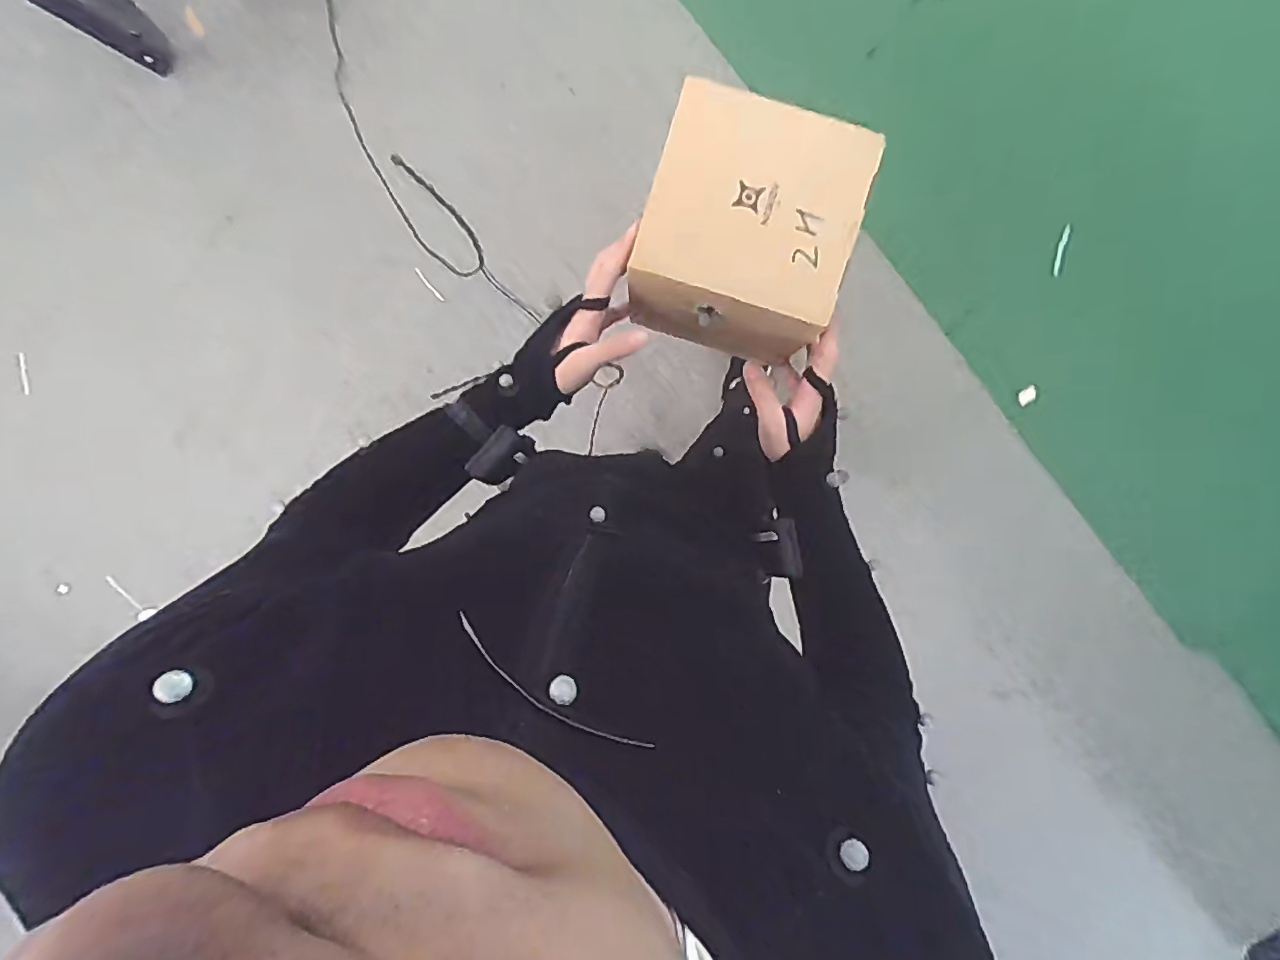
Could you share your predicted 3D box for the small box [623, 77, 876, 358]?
[{"bbox_3d":[0.091,-0.234,0.529,0.179,0.176,0.168,17,89,0],"label":"small box"}]
